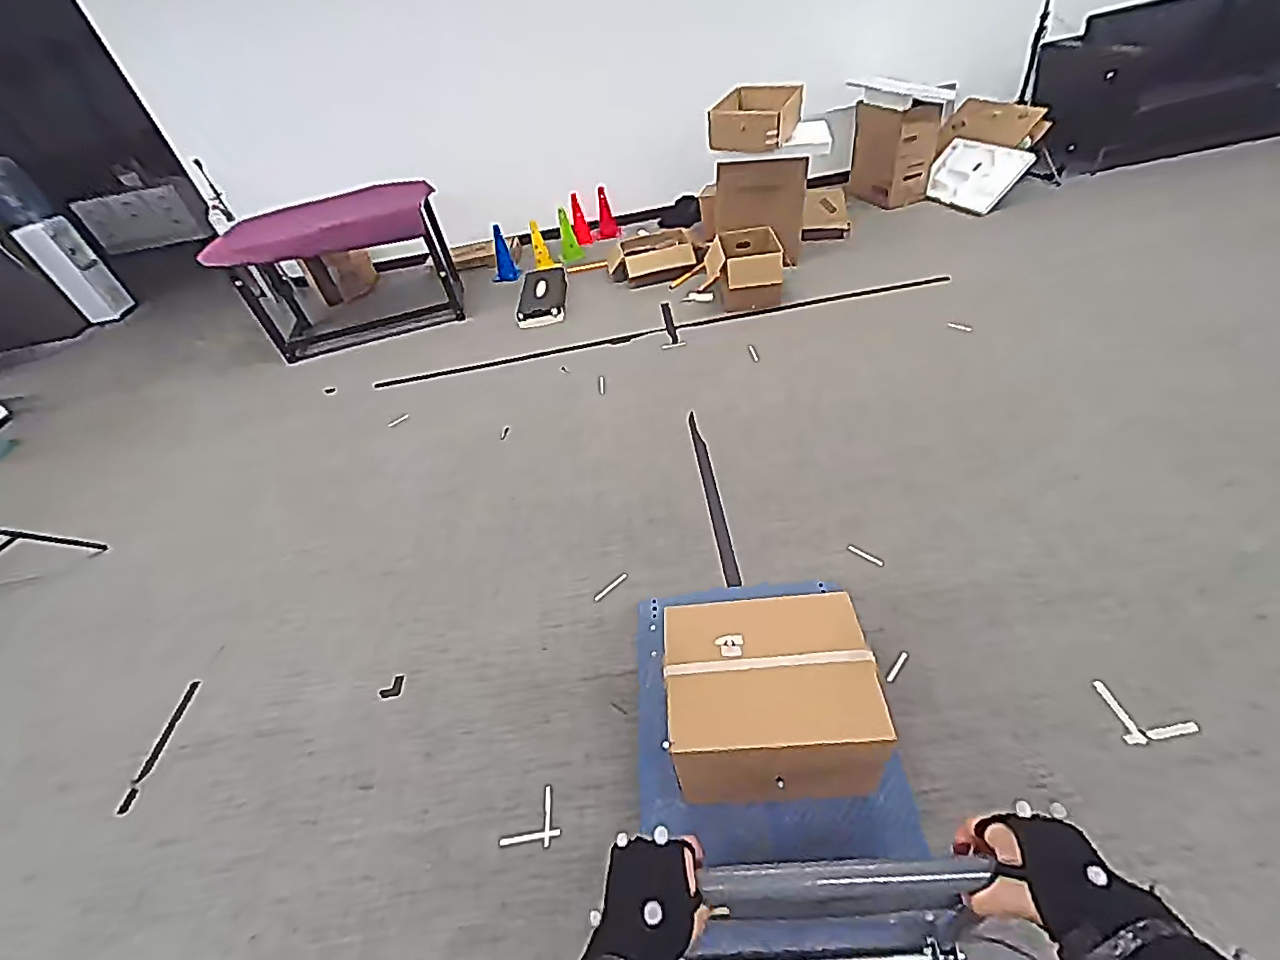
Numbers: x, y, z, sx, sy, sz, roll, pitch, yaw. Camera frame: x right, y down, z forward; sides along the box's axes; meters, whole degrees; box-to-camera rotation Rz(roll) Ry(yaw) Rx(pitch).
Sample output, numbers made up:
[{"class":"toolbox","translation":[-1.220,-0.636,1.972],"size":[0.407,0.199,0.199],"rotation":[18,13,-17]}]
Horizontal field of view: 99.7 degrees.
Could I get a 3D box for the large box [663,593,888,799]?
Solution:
[{"class":"large box","translation":[0.278,0.485,1.201],"size":[0.408,0.320,0.320],"rotation":[-7,42,6]}]
